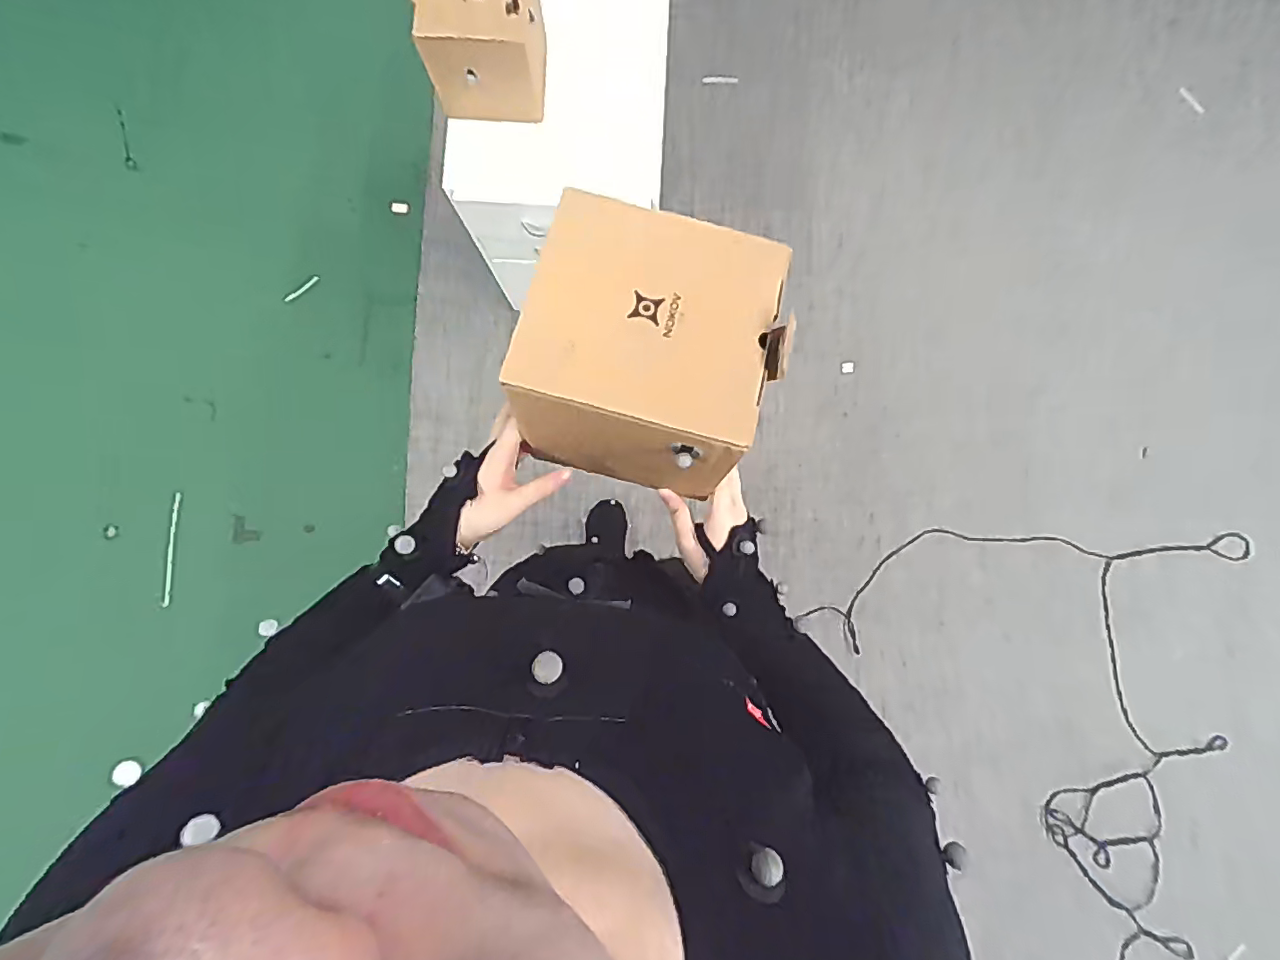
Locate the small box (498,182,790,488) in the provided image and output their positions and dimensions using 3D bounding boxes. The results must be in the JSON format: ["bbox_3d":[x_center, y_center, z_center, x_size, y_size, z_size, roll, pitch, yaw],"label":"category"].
[{"bbox_3d":[0.002,-0.103,0.454,0.179,0.176,0.168,15,75,-2],"label":"small box"}]

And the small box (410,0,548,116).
[{"bbox_3d":[-0.259,-0.746,0.904,0.179,0.176,0.168,2,86,0],"label":"small box"}]
